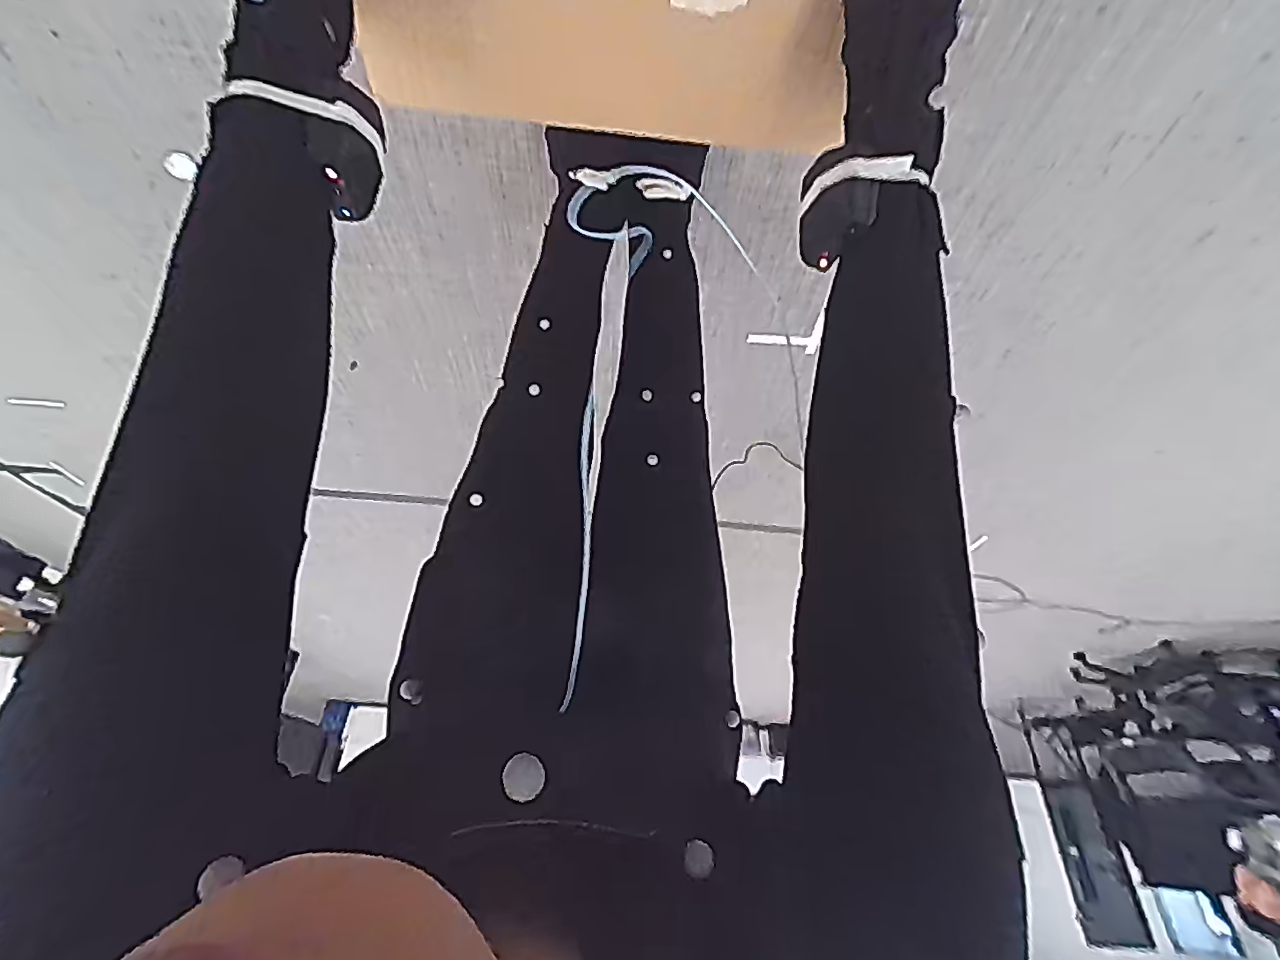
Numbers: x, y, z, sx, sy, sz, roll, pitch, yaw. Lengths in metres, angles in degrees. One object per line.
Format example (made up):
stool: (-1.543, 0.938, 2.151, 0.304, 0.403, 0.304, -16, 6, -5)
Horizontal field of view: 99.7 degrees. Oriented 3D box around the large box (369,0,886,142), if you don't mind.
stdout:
large box: (-0.002, -0.526, 0.451, 0.408, 0.320, 0.320, 5, 142, -2)
